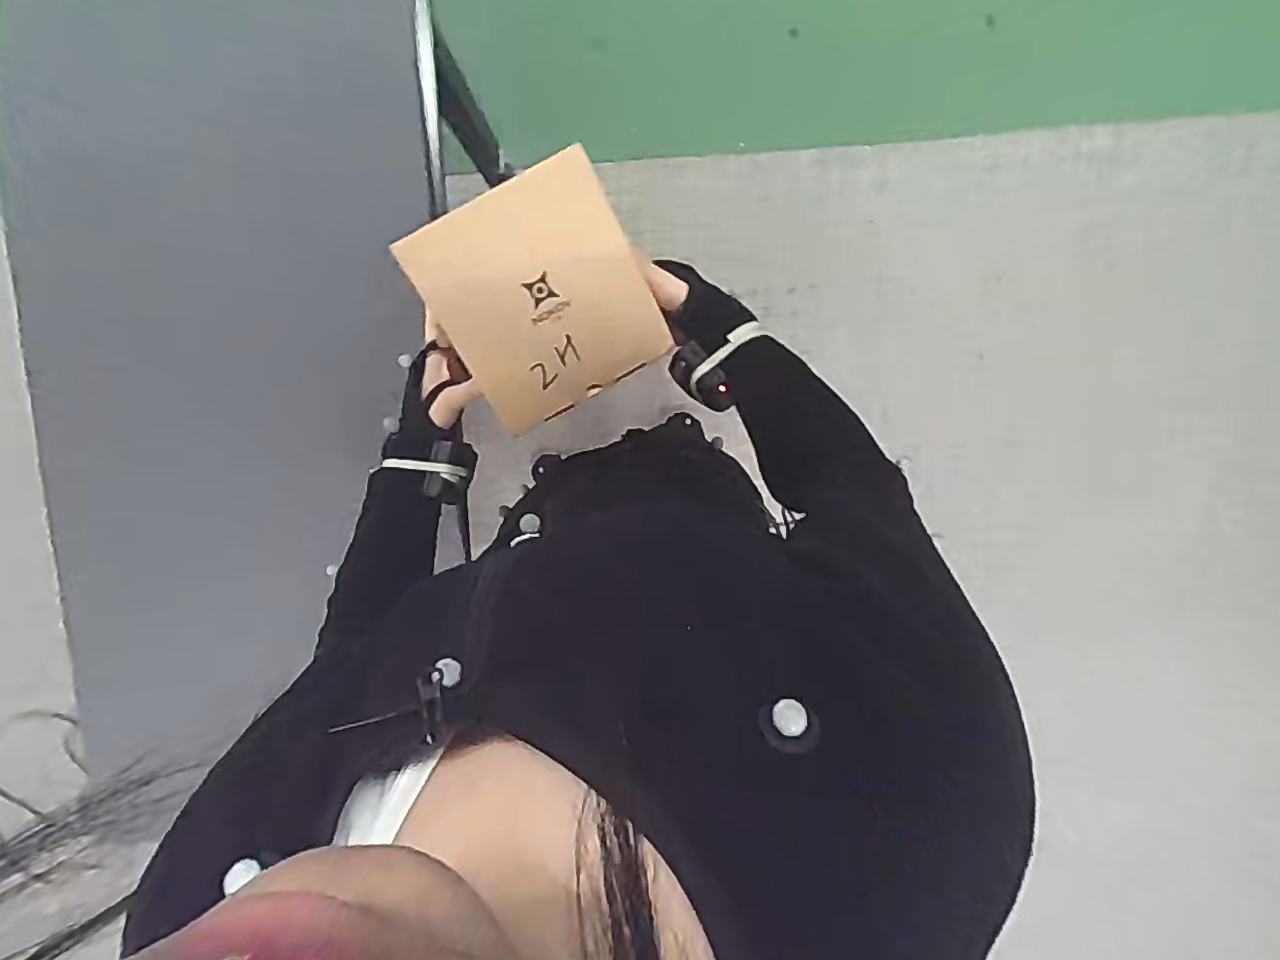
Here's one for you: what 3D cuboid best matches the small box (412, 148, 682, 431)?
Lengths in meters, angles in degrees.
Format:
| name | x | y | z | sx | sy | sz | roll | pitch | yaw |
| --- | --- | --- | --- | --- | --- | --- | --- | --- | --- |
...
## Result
| name | x | y | z | sx | sy | sz | roll | pitch | yaw |
| --- | --- | --- | --- | --- | --- | --- | --- | --- | --- |
| small box | -0.086 | -0.172 | 0.517 | 0.168 | 0.176 | 0.179 | -28 | 111 | -2 |
